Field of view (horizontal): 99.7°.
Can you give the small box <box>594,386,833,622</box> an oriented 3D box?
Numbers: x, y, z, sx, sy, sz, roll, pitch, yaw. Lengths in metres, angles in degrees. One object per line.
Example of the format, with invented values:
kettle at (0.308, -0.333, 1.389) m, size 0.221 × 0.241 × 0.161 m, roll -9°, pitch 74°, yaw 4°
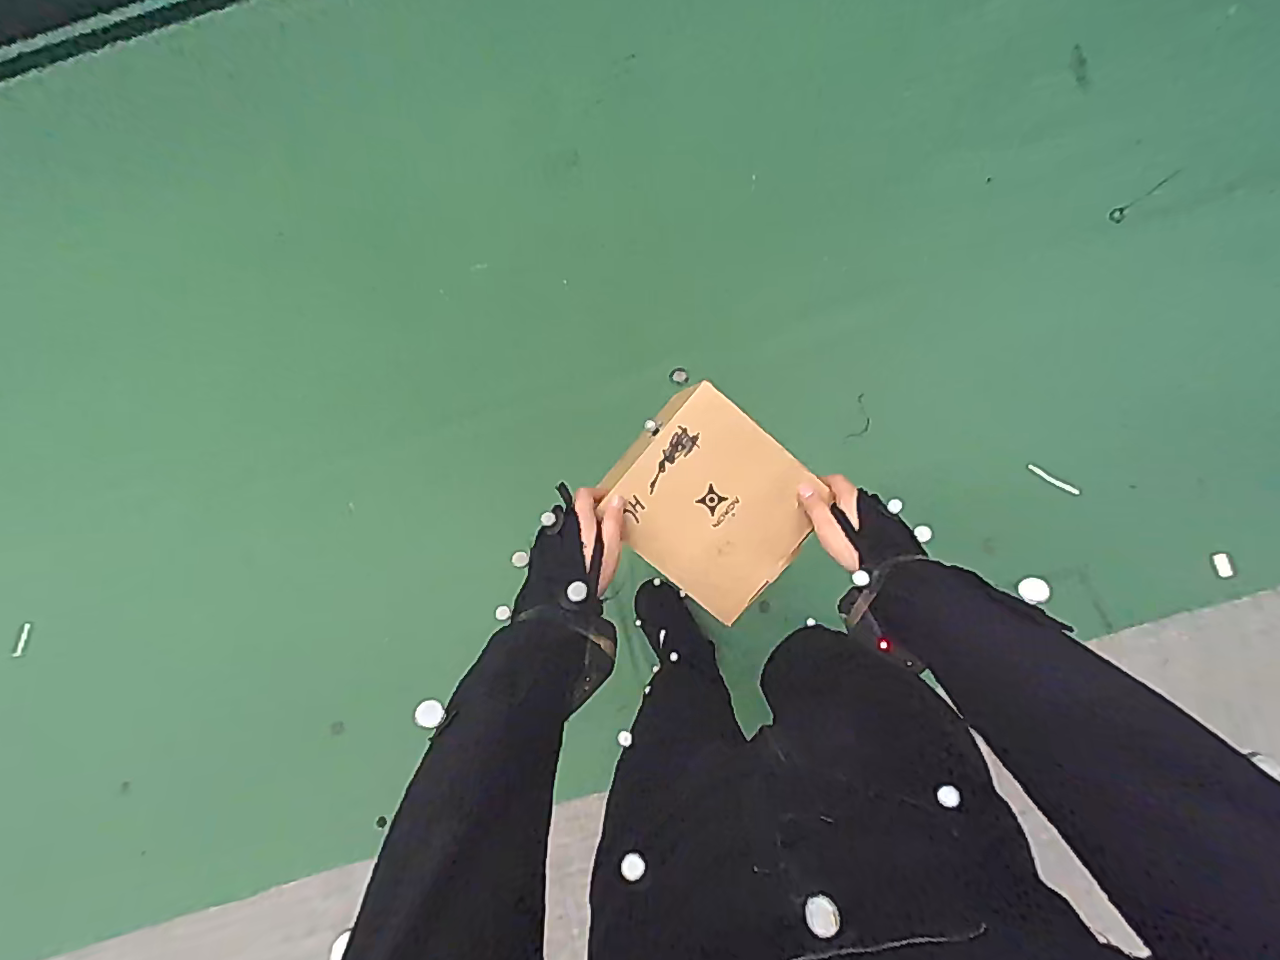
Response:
small box at (0.067, 0.018, 0.596) m, size 0.179 × 0.176 × 0.168 m, roll 40°, pitch 90°, yaw -6°
